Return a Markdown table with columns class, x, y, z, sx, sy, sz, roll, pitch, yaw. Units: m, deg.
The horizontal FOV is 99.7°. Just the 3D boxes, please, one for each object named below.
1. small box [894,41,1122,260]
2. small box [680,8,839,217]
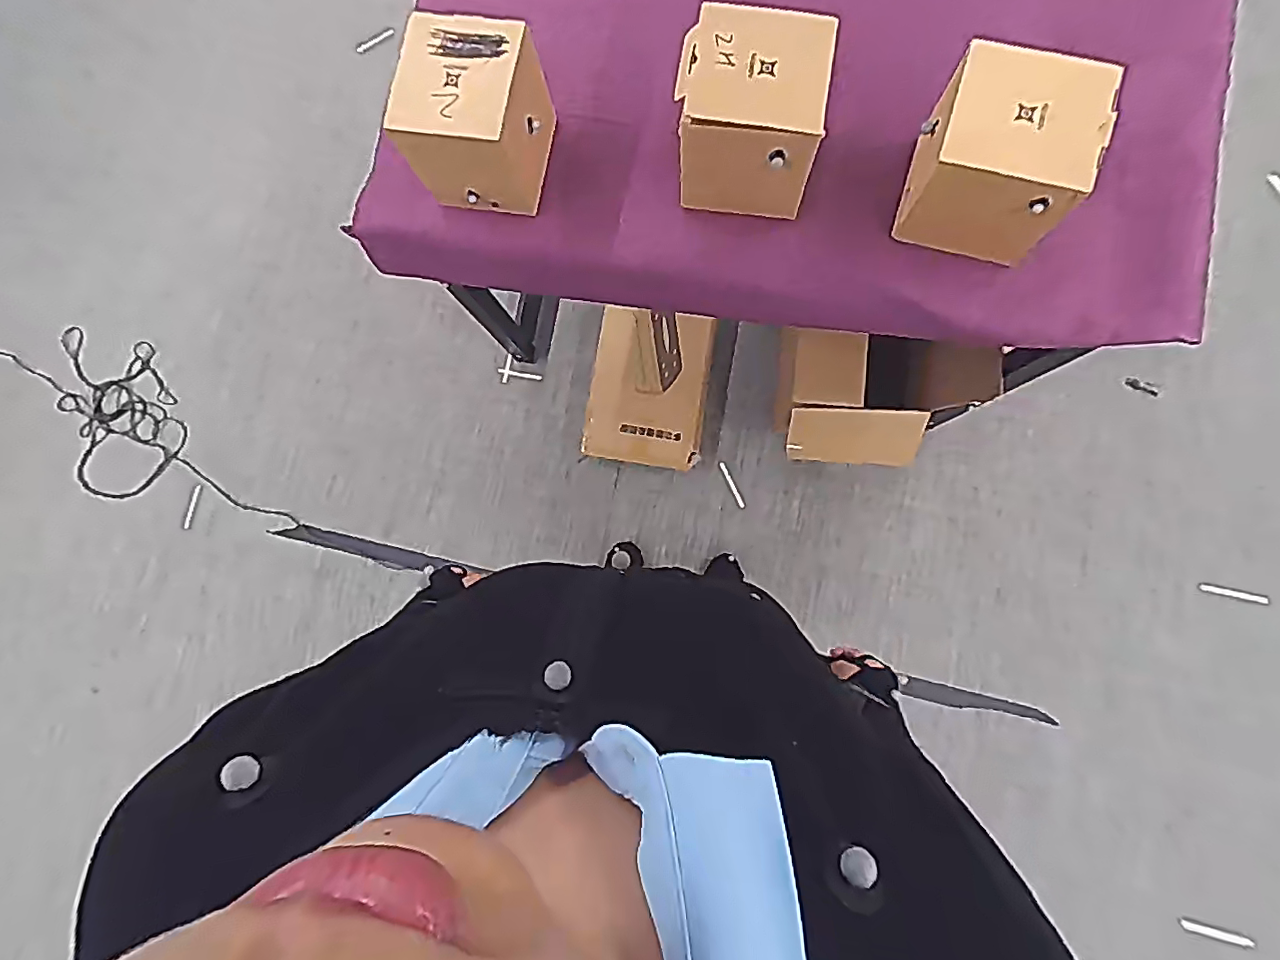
| class | x | y | z | sx | sy | sz | roll | pitch | yaw |
| --- | --- | --- | --- | --- | --- | --- | --- | --- | --- |
| small box | 0.462 | -0.417 | 0.709 | 0.179 | 0.176 | 0.168 | 17 | 85 | 7 |
| small box | 0.155 | -0.492 | 0.746 | 0.179 | 0.176 | 0.168 | 9 | 82 | 6 |
